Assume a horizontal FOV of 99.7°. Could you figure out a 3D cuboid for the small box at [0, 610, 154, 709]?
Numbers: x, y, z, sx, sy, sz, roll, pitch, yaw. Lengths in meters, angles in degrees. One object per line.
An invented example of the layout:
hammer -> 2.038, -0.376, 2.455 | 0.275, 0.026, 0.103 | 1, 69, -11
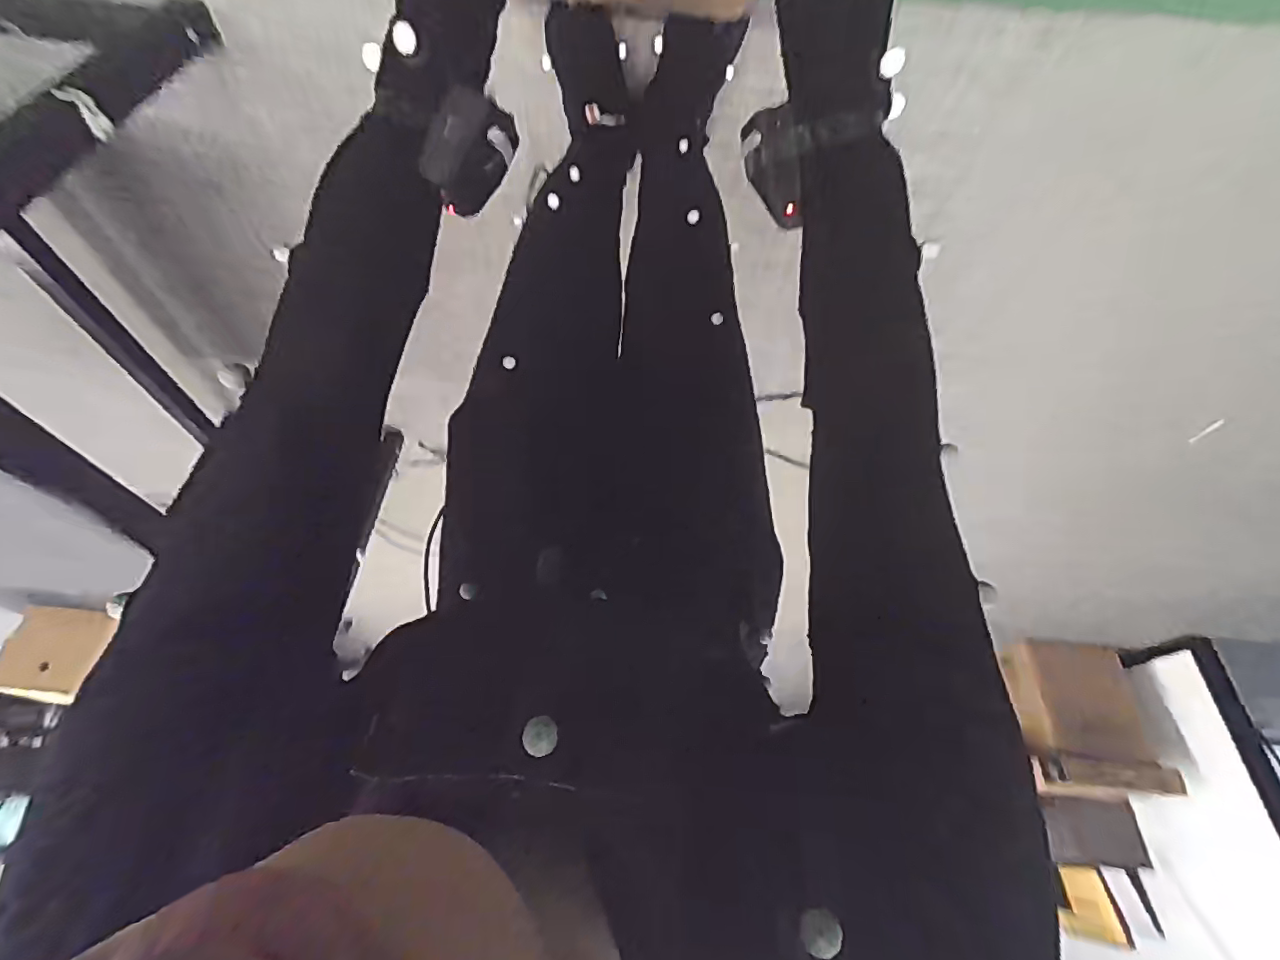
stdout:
small box -> -1.214, 0.388, 1.170 | 0.179, 0.176, 0.168 | 5, 148, -2
